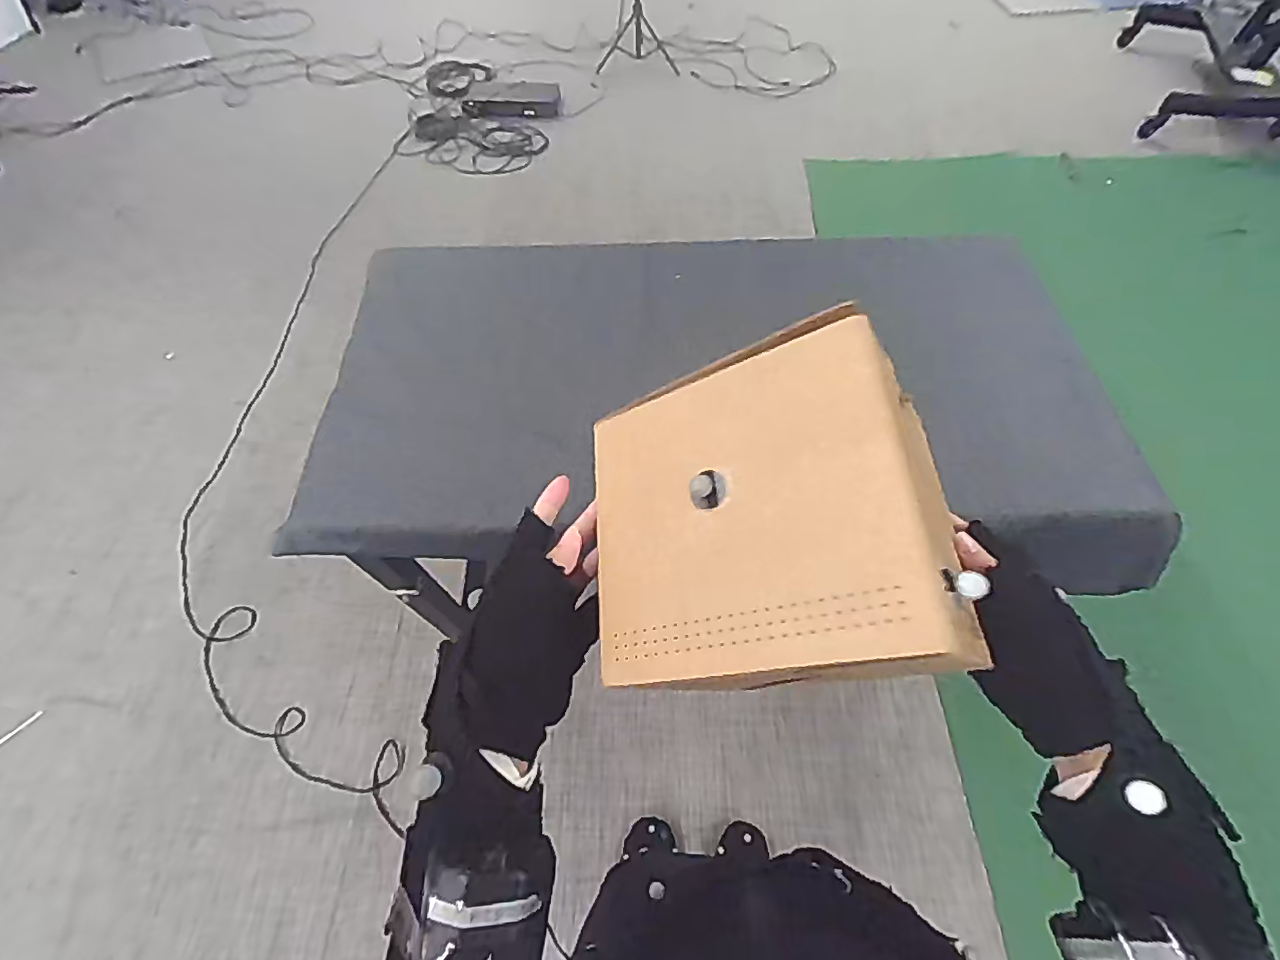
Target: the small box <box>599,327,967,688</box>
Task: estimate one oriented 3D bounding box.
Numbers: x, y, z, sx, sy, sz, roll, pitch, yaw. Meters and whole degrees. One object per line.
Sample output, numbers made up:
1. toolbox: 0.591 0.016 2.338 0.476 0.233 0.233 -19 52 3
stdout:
1. small box: 0.092 0.039 0.356 0.179 0.168 0.176 -19 62 30
